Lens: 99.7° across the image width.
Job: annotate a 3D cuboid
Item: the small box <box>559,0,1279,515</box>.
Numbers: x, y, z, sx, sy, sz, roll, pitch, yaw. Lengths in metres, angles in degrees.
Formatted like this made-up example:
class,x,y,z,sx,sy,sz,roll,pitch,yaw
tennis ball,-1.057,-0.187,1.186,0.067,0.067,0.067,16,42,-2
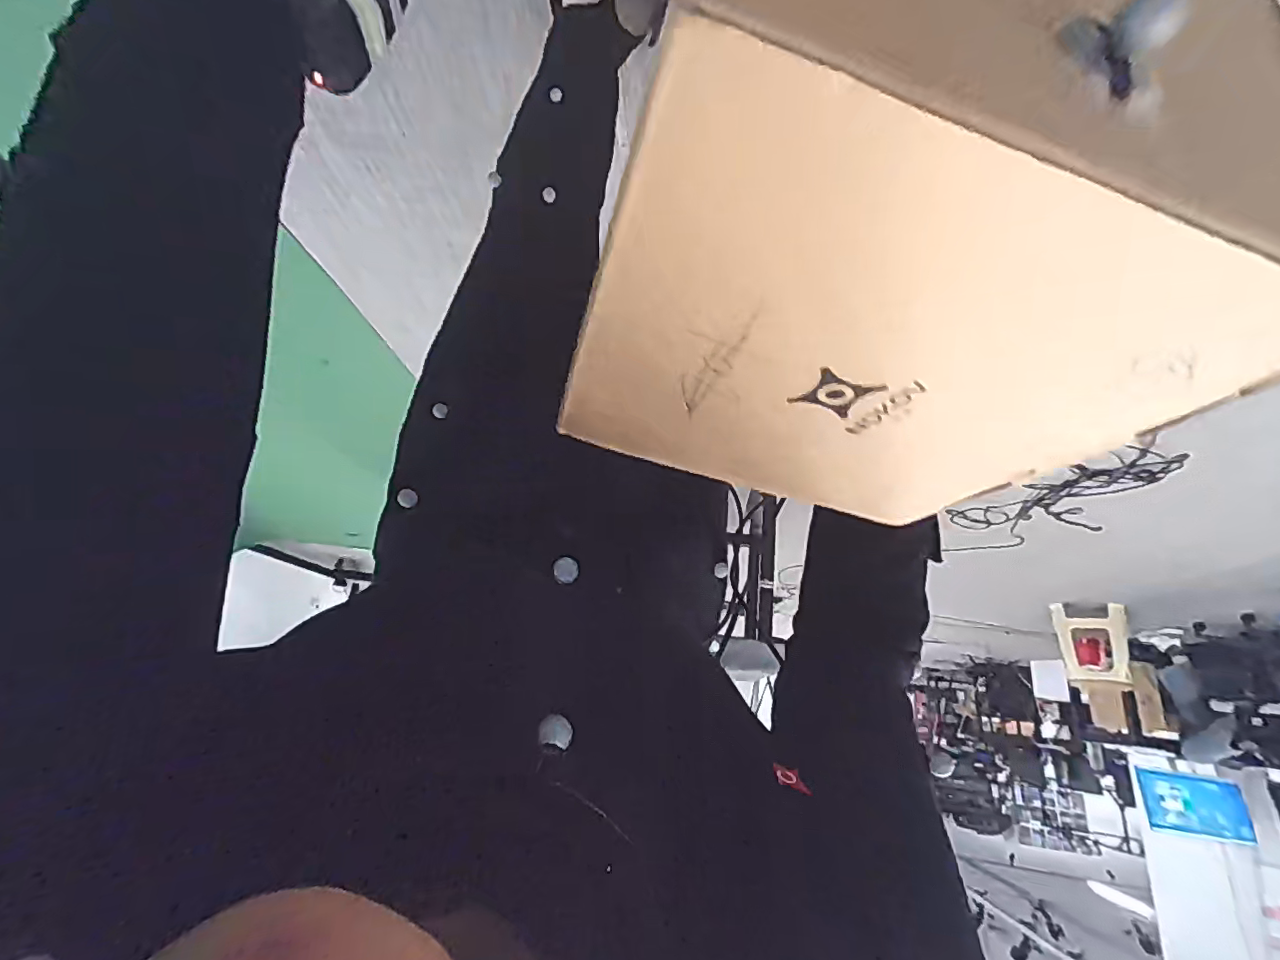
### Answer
class,x,y,z,sx,sy,sz,roll,pitch,yaw
small box,0.080,-0.105,0.215,0.179,0.176,0.168,15,155,-10
